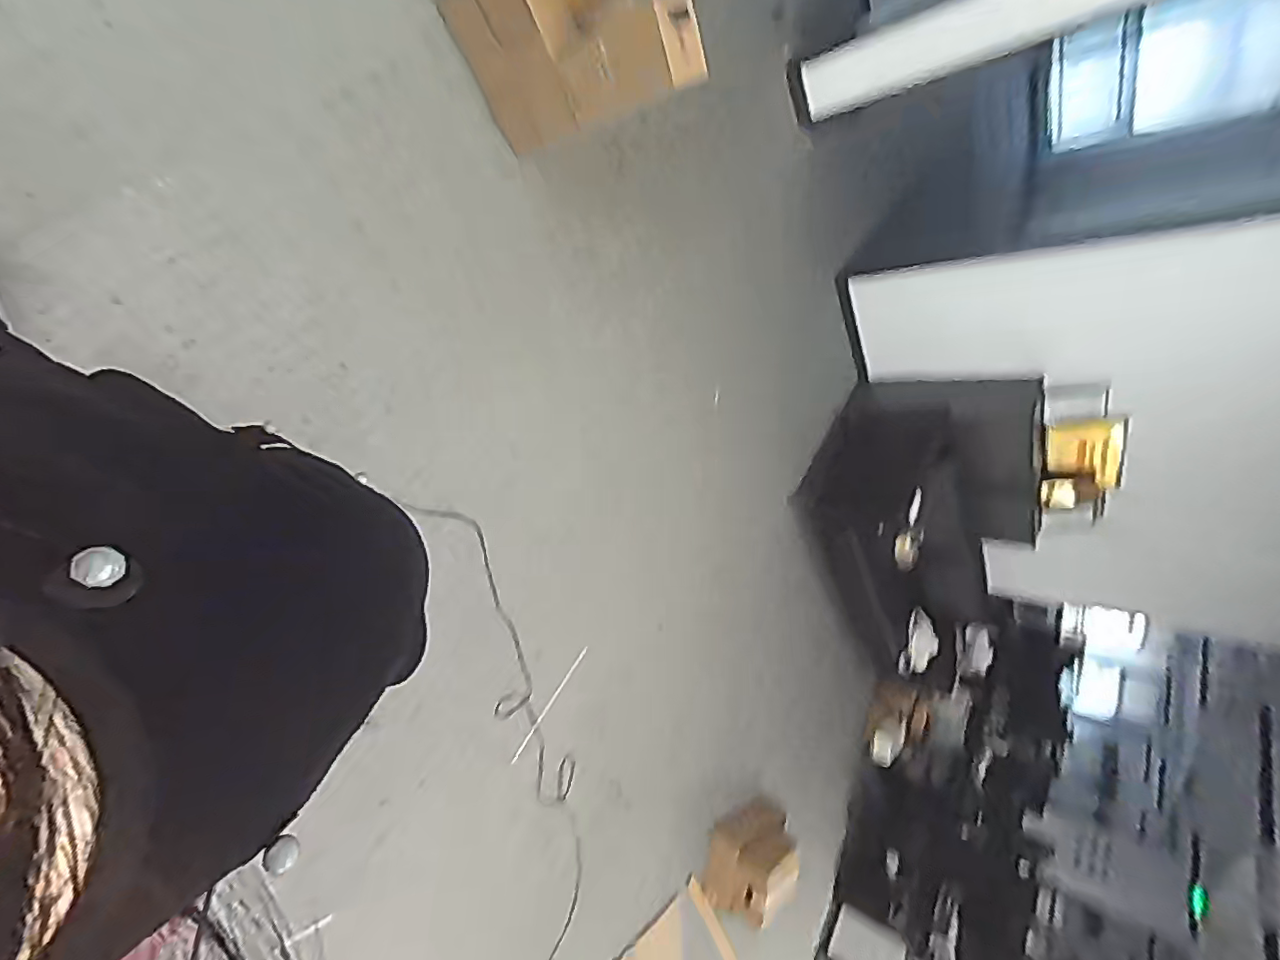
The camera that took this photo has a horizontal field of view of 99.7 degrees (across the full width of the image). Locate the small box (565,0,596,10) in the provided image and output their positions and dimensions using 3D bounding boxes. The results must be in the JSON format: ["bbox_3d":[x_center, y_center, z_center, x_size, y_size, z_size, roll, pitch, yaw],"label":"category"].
[{"bbox_3d":[-0.124,-1.349,1.378,0.168,0.176,0.179,-58,132,-28],"label":"small box"}]
